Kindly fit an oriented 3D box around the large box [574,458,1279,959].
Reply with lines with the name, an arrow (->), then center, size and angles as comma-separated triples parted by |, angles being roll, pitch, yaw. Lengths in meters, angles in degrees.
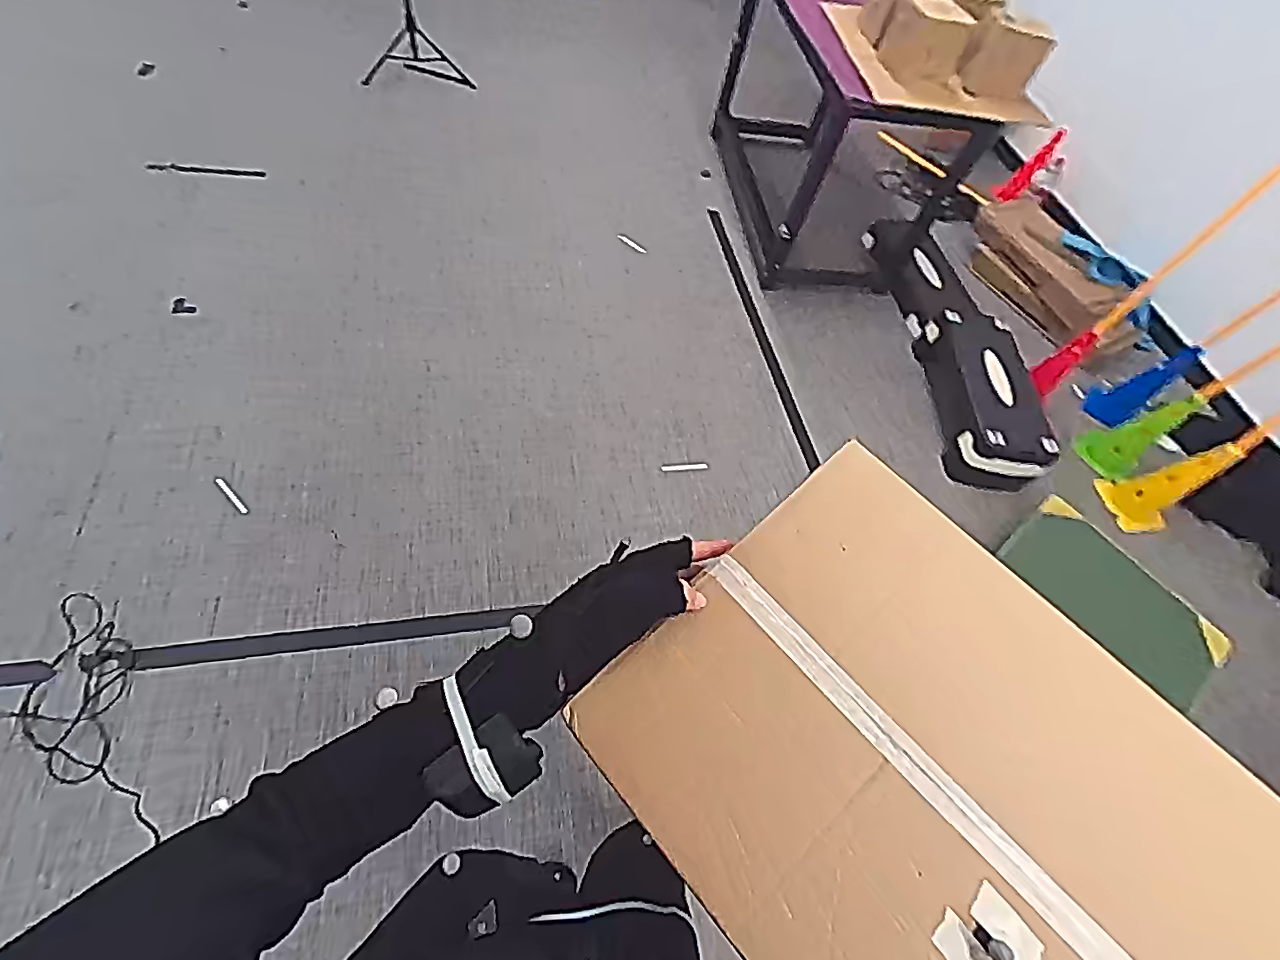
large box -> 0.195, 0.261, 0.504 | 0.320, 0.320, 0.408 | -40, 72, -13
